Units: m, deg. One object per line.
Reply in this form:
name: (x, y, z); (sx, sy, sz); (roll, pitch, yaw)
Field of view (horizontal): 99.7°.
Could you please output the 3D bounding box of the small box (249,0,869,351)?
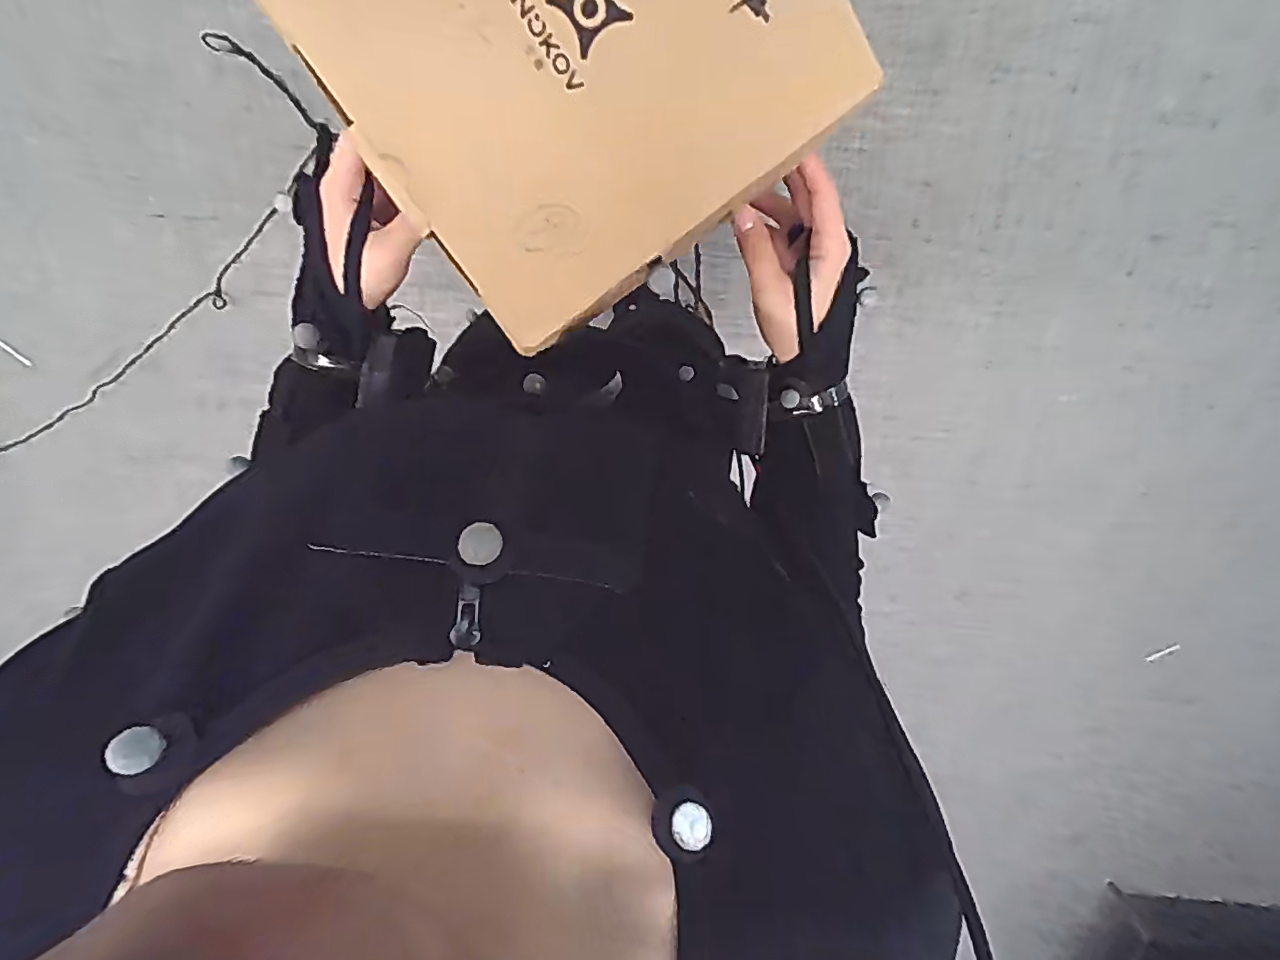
small box: (-0.028, -0.185, 0.275); (0.179, 0.176, 0.168); (-34, 104, 9)
